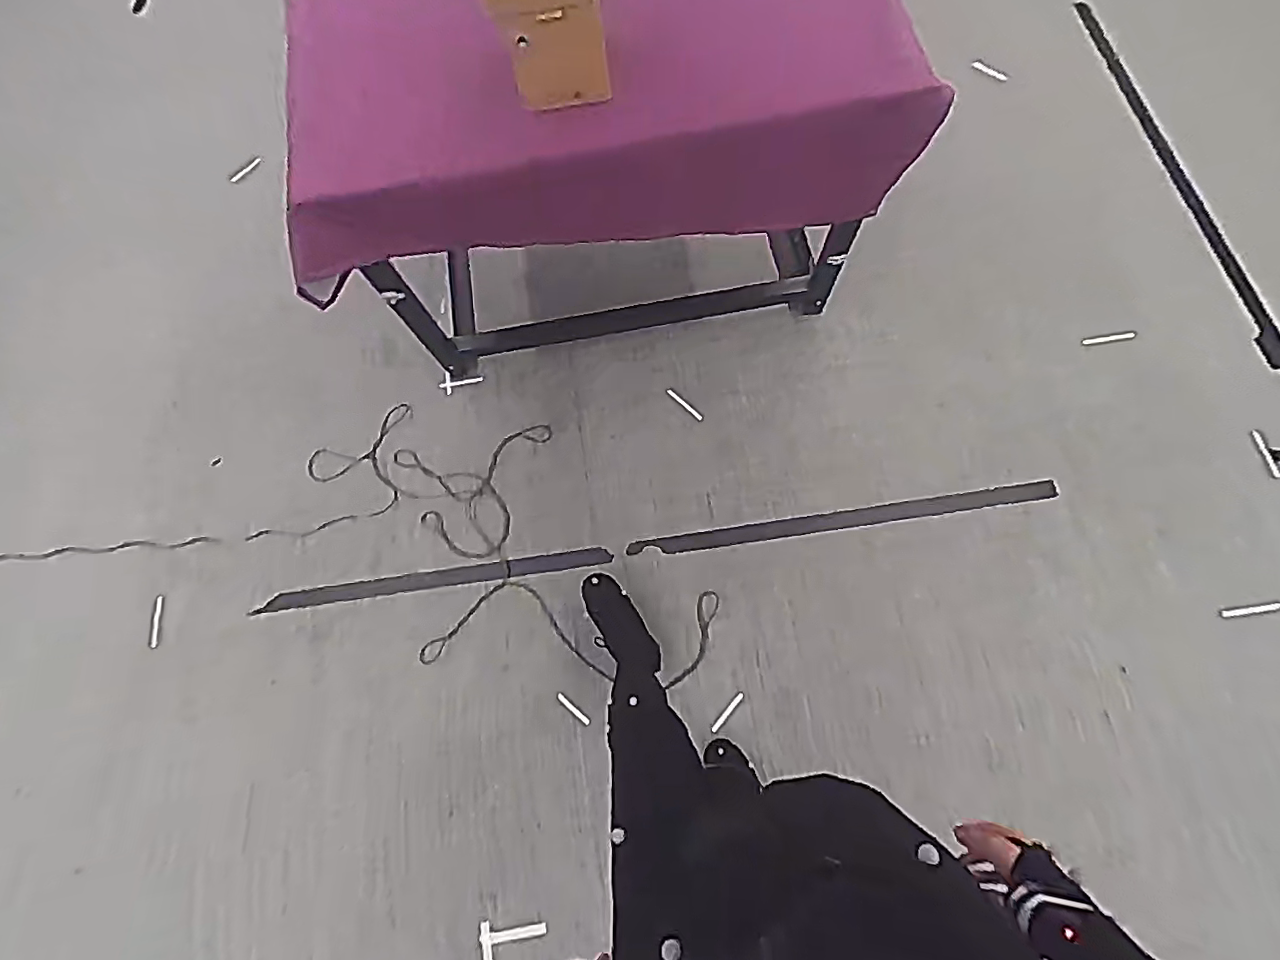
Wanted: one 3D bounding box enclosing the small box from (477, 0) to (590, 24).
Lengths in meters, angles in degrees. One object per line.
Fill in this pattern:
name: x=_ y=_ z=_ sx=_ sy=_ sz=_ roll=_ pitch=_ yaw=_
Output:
small box: x=-0.180 y=-0.835 z=0.814 sx=0.179 sy=0.176 sz=0.168 roll=-8 pitch=73 yaw=1
